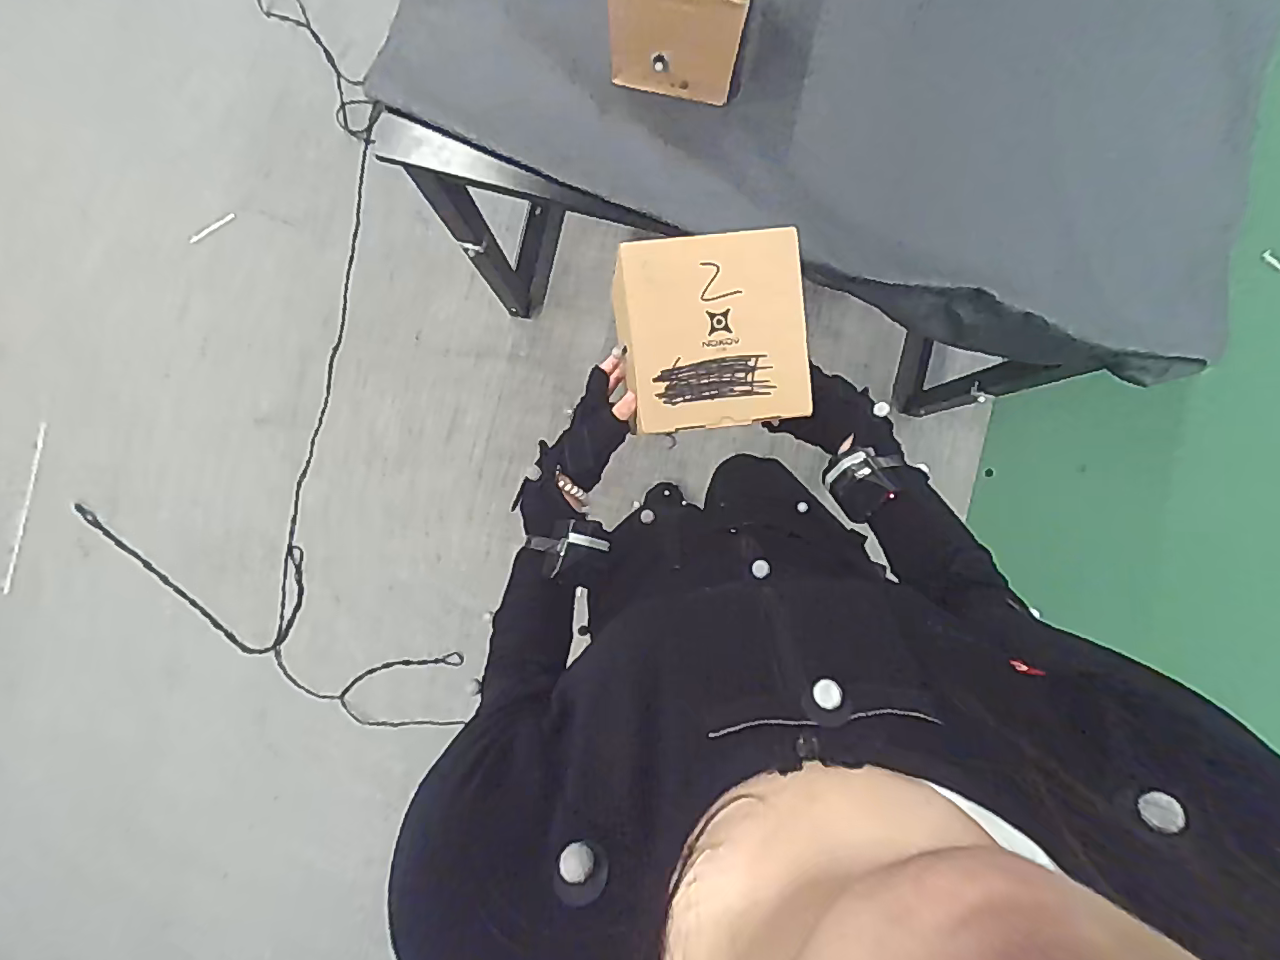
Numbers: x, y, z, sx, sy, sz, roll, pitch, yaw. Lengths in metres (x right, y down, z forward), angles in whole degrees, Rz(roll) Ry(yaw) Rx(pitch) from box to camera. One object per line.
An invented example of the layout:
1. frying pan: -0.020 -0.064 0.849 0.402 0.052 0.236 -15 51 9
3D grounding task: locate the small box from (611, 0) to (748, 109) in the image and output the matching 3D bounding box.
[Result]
1. small box: 0.056 -0.636 0.701 0.168 0.176 0.179 11 89 -1
